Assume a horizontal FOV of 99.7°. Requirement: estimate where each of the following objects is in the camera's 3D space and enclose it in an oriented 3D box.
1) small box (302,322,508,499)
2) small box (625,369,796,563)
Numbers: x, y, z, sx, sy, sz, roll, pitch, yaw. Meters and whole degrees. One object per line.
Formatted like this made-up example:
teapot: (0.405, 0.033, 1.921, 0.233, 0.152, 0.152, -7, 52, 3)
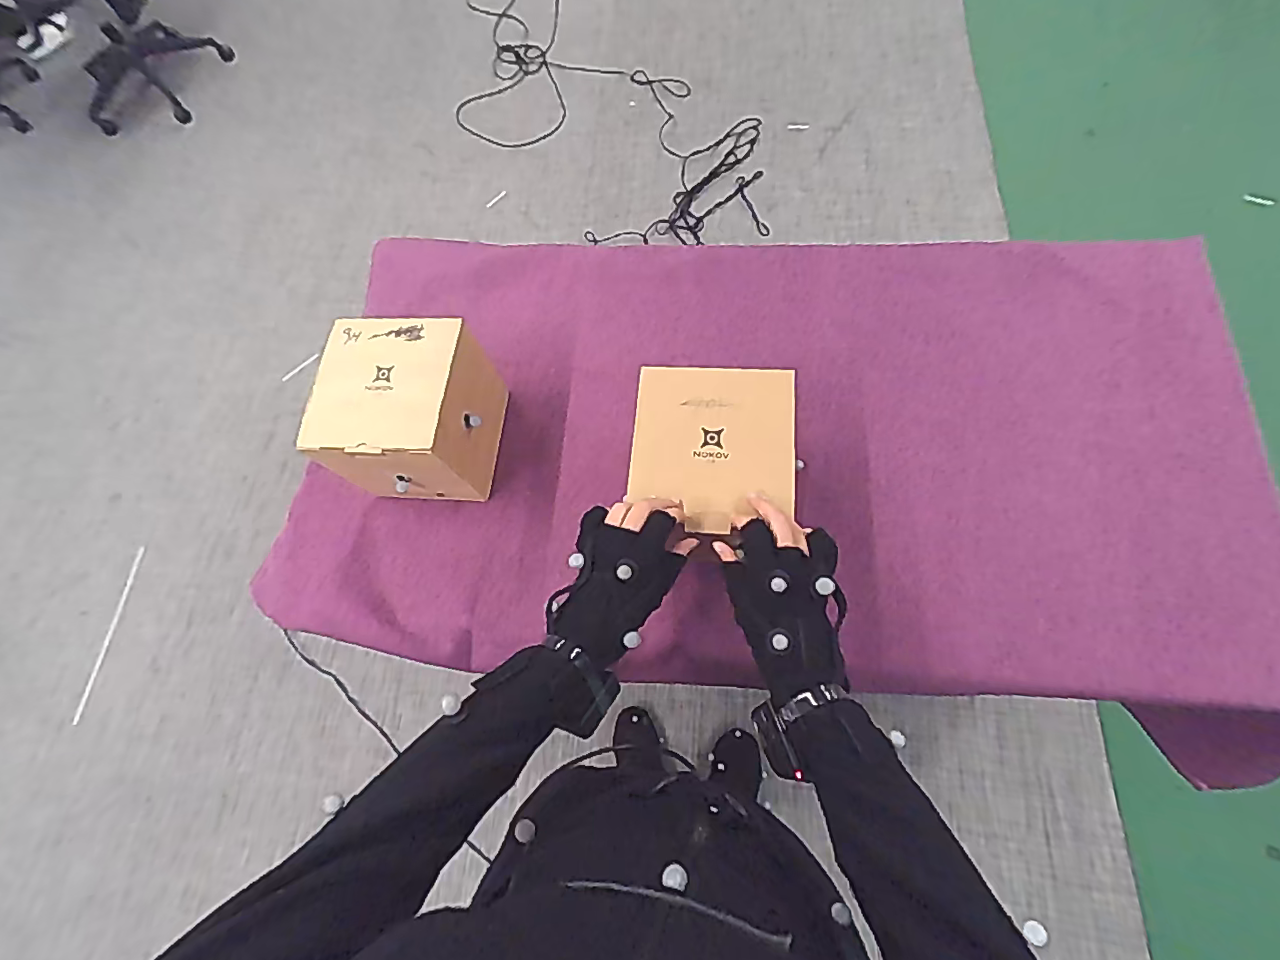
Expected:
small box: (-0.283, -0.081, 0.697, 0.168, 0.176, 0.179, 2, 70, 7)
small box: (0.084, -0.008, 0.624, 0.168, 0.176, 0.179, 3, 69, 8)
